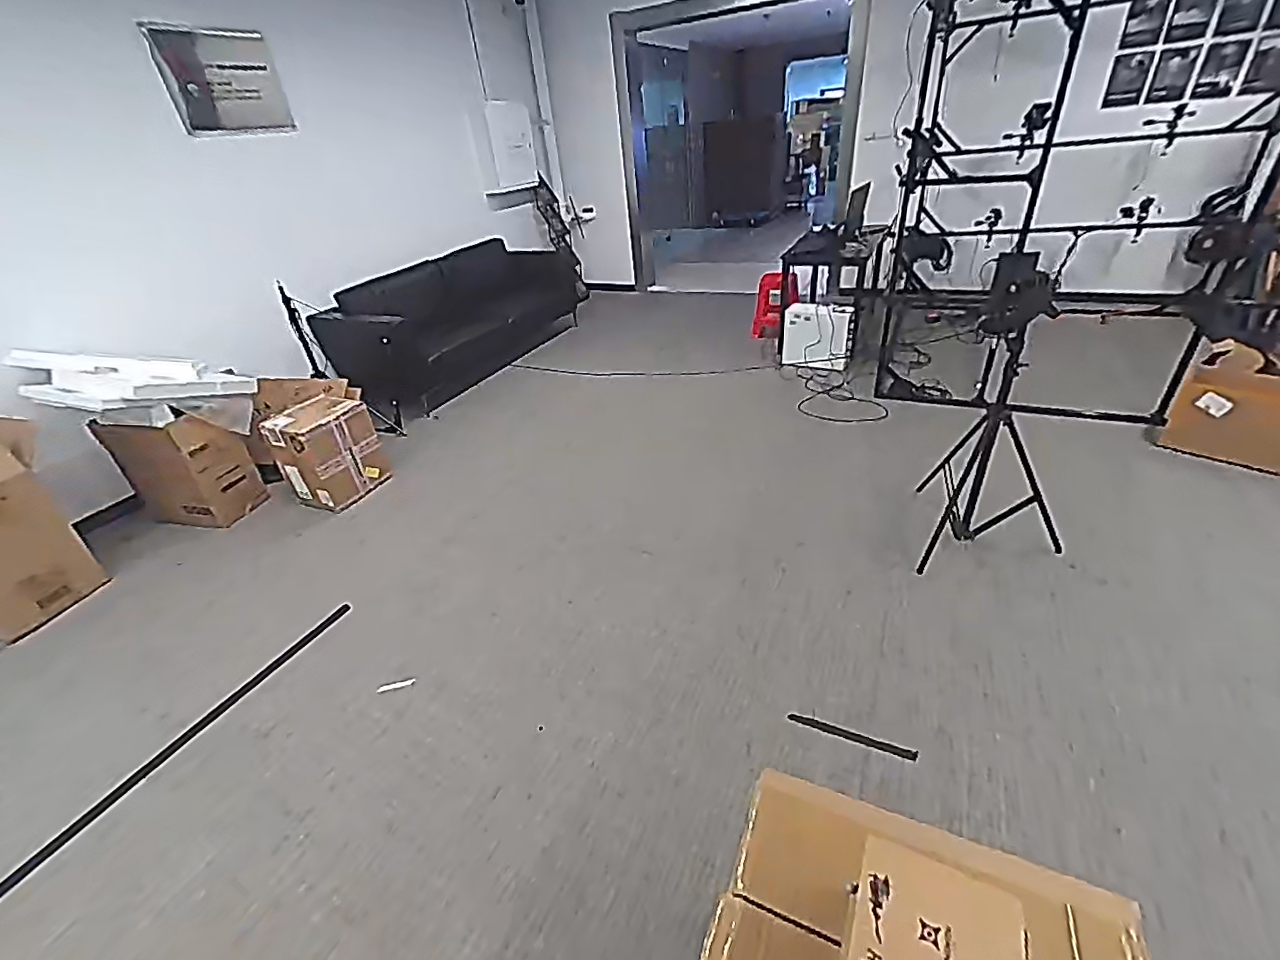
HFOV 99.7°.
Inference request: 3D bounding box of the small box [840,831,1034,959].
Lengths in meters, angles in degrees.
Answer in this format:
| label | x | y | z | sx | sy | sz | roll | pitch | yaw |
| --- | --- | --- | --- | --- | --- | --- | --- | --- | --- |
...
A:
| label | x | y | z | sx | sy | sz | roll | pitch | yaw |
| --- | --- | --- | --- | --- | --- | --- | --- | --- | --- |
| small box | 0.346 | 0.575 | 0.648 | 0.179 | 0.176 | 0.168 | 12 | 38 | 26 |
